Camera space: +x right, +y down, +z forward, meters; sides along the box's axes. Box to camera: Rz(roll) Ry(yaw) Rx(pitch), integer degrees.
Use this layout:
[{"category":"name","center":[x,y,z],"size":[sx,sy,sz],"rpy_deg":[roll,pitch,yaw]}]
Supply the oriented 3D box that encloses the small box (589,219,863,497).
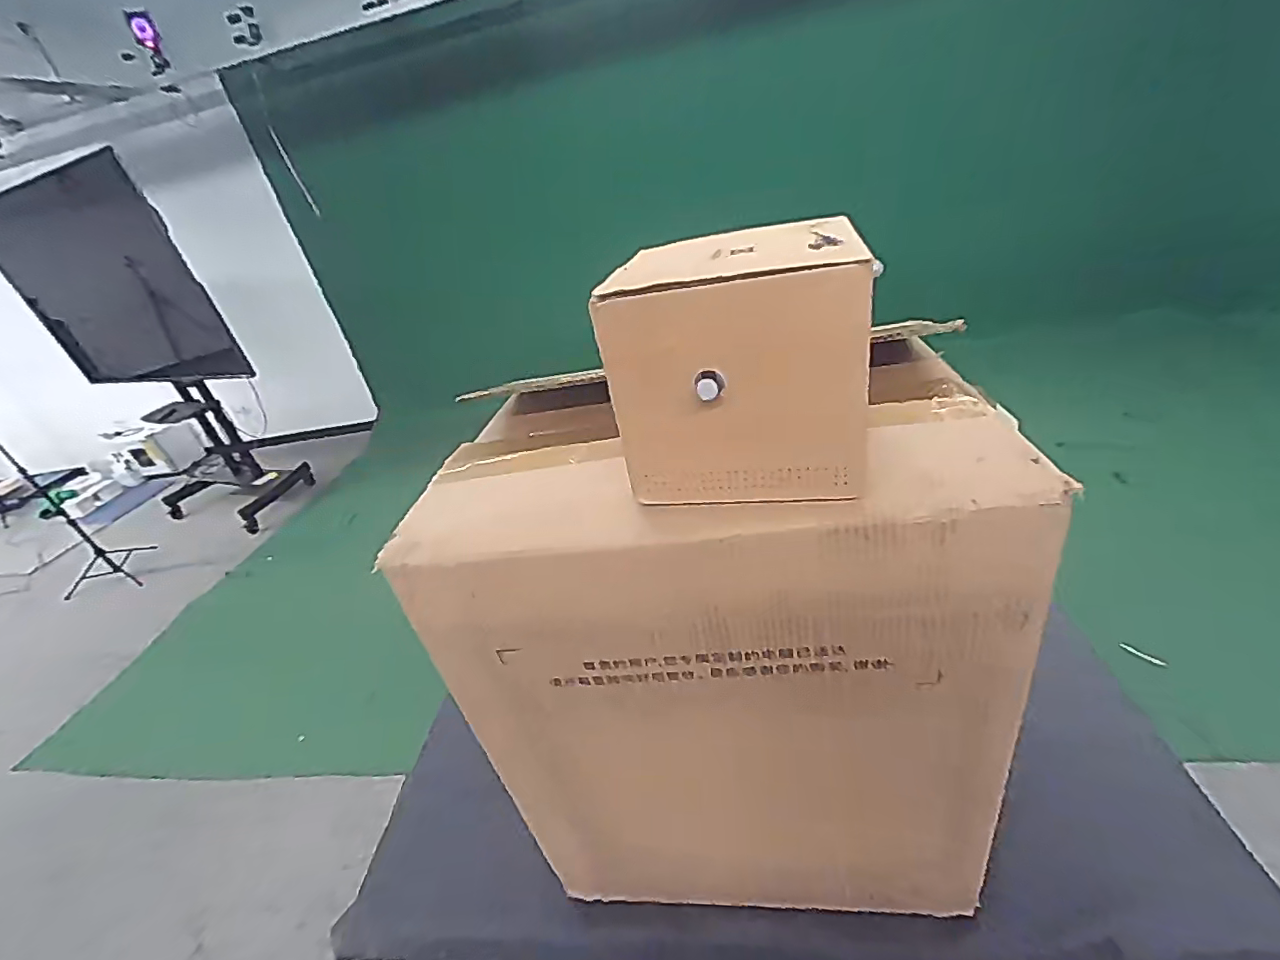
[{"category":"small box","center":[0.080,-0.096,0.440],"size":[0.179,0.176,0.168],"rpy_deg":[-3,33,16]}]
